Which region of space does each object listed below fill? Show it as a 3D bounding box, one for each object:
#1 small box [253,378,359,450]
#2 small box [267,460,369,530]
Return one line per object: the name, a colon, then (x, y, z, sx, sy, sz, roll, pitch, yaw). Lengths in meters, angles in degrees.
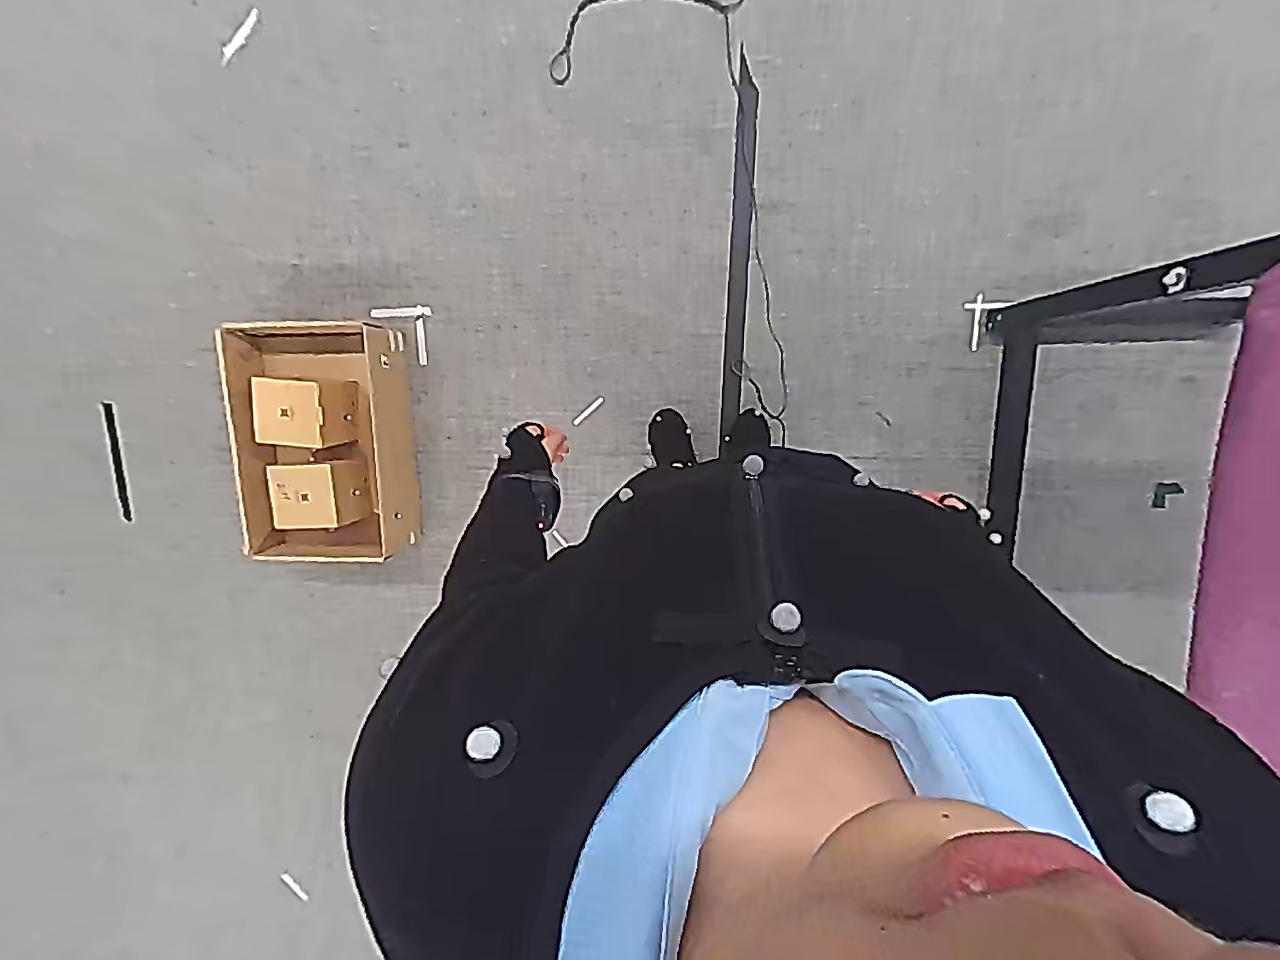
small box: (-0.876, -0.177, 1.426, 0.179, 0.176, 0.168, 6, 101, 3)
small box: (-0.855, 0.037, 1.459, 0.179, 0.176, 0.168, -1, 98, 5)
